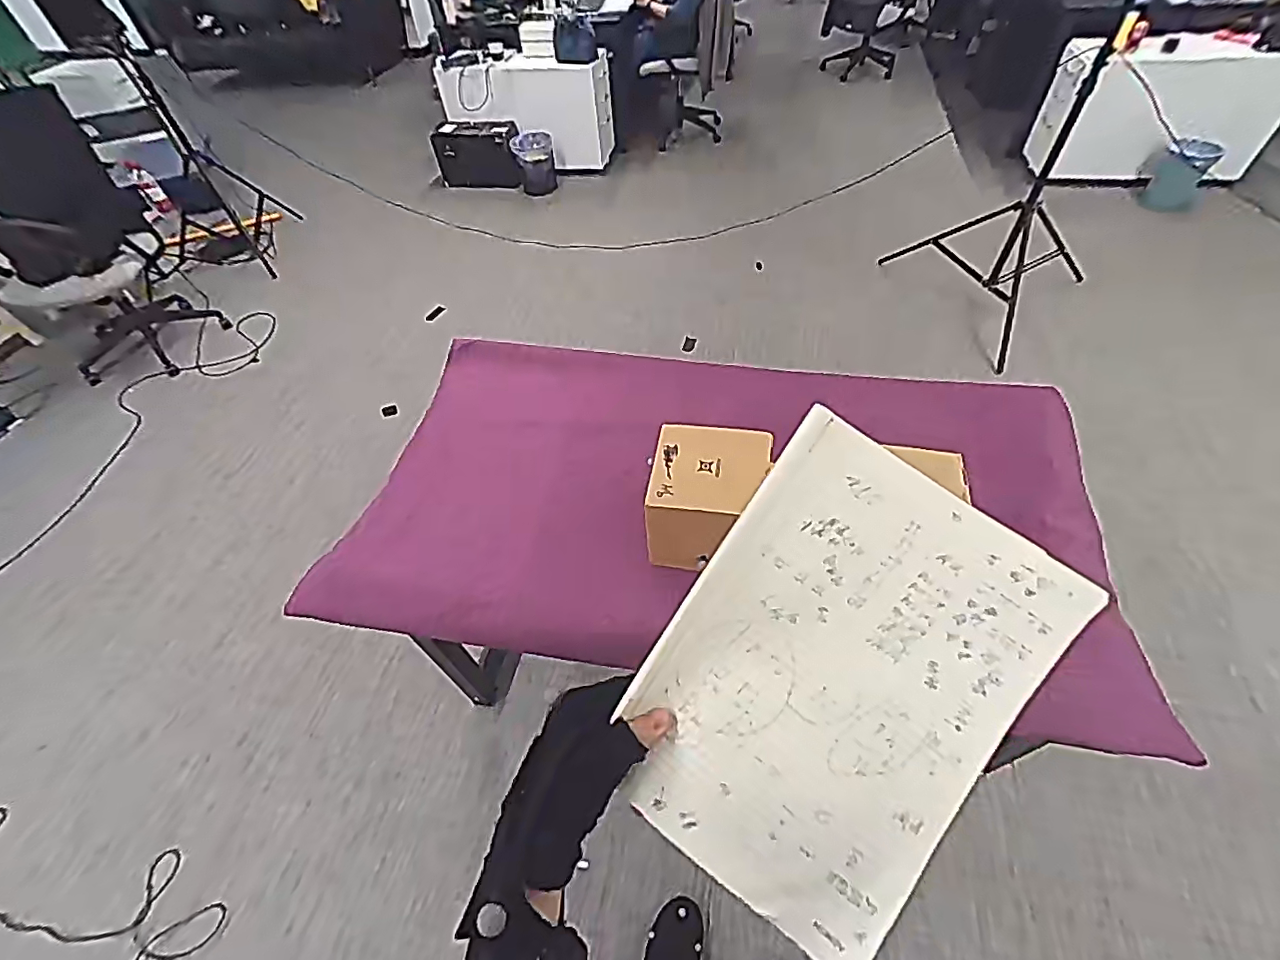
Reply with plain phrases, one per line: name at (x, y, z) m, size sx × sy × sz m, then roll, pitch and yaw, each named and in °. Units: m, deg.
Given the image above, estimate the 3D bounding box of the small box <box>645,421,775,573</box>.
small box at (0.111, 0.031, 0.857) m, size 0.179 × 0.176 × 0.168 m, roll 7°, pitch 51°, yaw 9°

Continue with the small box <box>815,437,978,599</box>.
small box at (0.371, 0.060, 0.812) m, size 0.179 × 0.176 × 0.168 m, roll 8°, pitch 49°, yaw 13°
